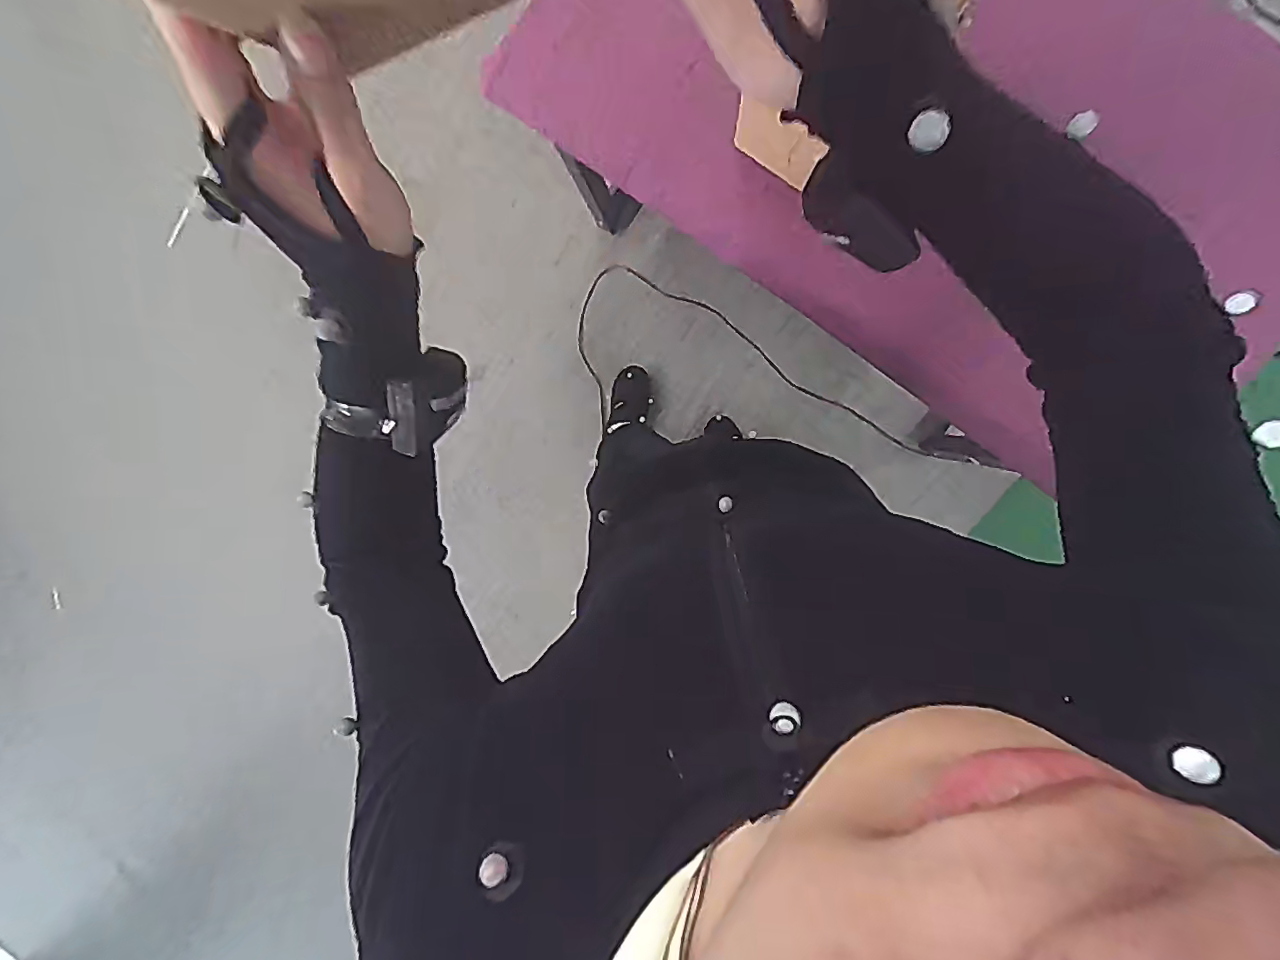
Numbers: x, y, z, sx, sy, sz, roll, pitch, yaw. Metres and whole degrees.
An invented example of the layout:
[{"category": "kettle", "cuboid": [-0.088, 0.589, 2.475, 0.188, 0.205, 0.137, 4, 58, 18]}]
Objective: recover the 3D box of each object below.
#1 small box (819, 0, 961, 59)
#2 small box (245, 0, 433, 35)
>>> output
[{"category": "small box", "cuboid": [0.225, -0.487, 0.415, 0.168, 0.176, 0.179, 34, 99, 0]}, {"category": "small box", "cuboid": [-0.100, -0.273, 0.155, 0.179, 0.176, 0.168, -15, 117, 9]}]
